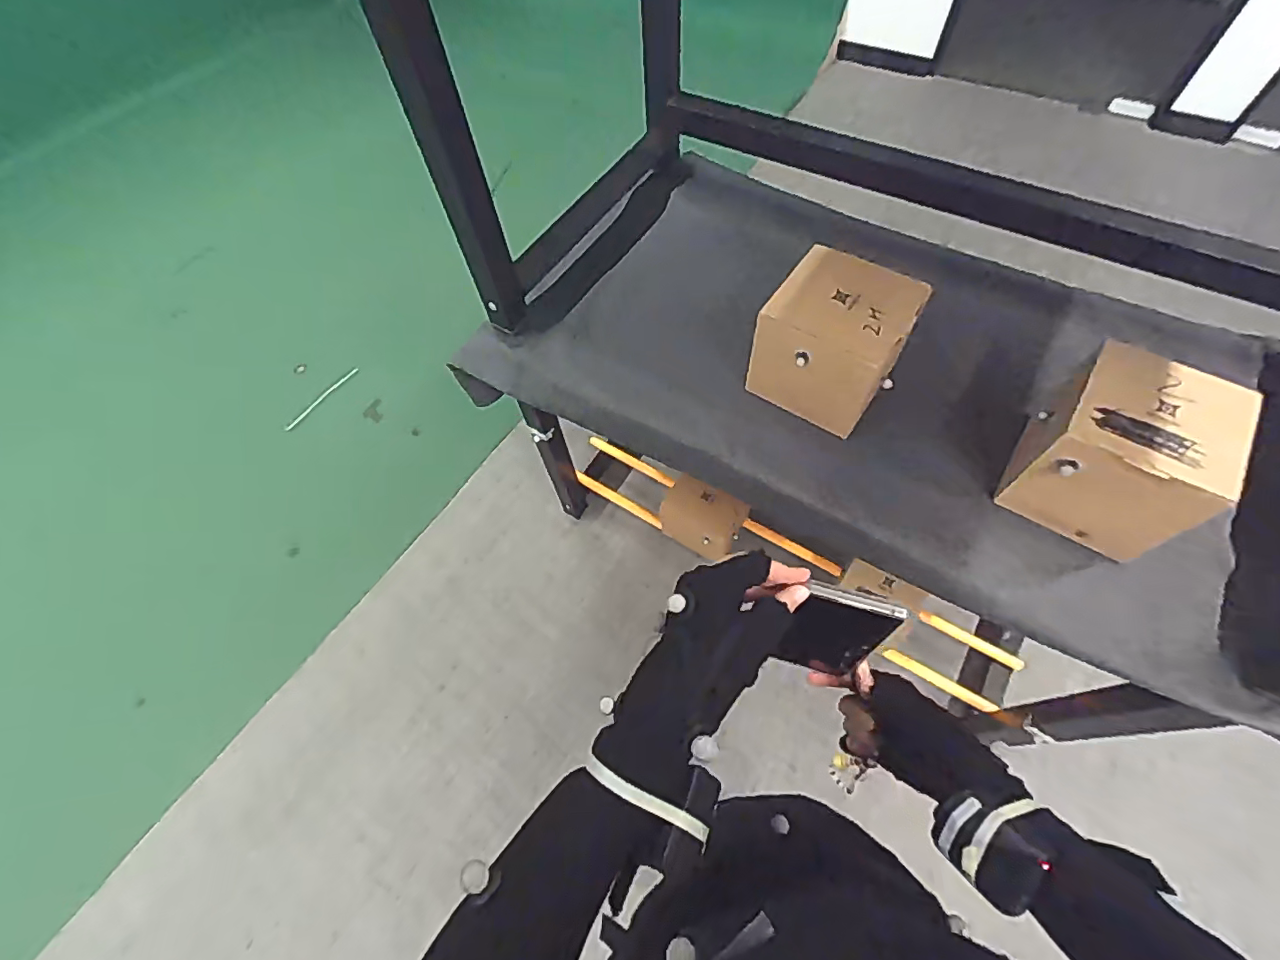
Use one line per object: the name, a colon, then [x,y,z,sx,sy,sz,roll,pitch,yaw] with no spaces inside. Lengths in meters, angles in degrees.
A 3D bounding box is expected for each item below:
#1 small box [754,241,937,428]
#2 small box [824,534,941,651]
small box: [0.283,-0.204,0.785,0.179,0.176,0.168,31,68,20]
small box: [0.536,0.261,1.223,0.168,0.176,0.179,32,68,19]
